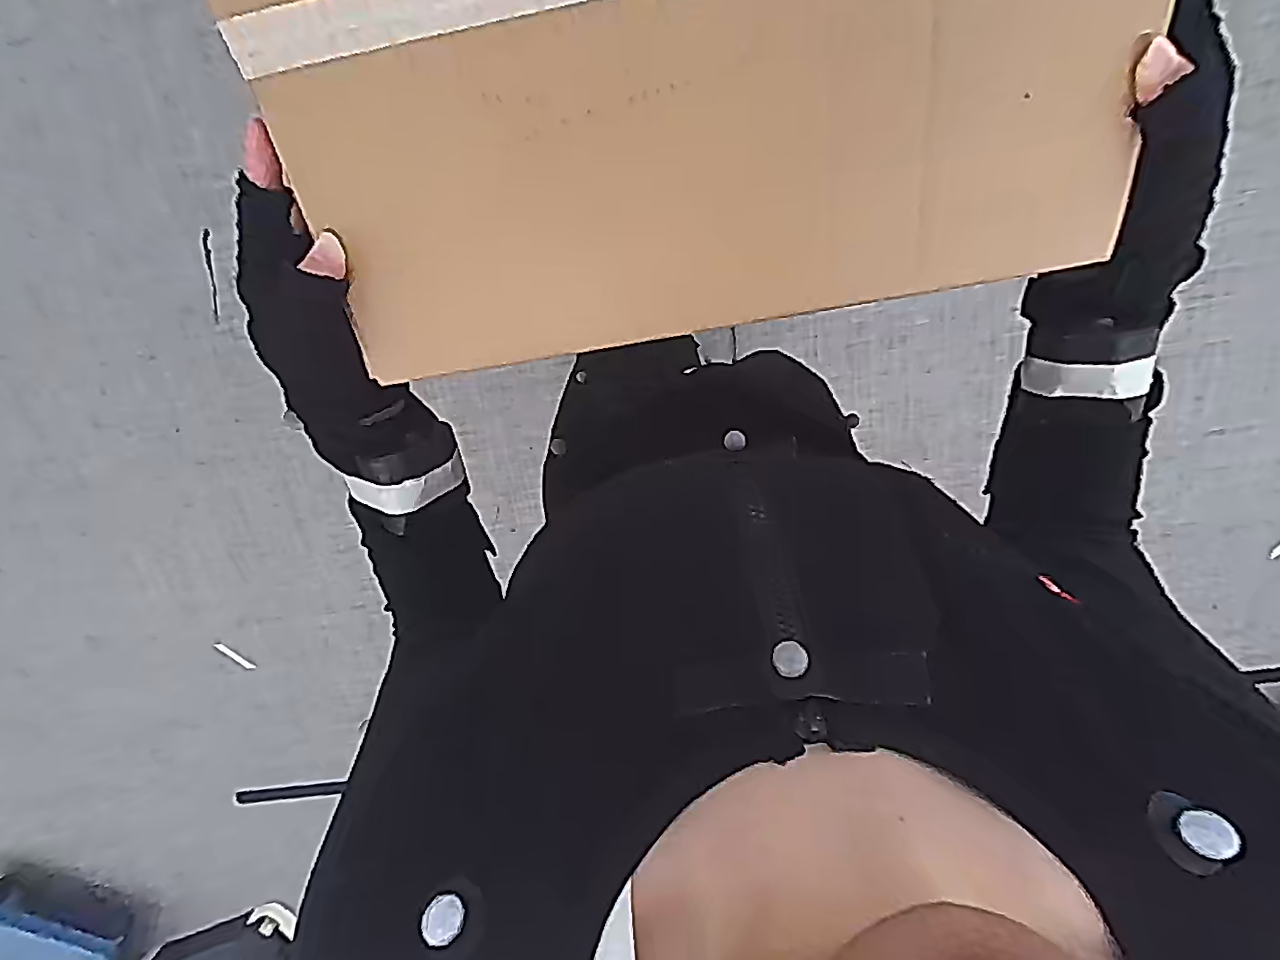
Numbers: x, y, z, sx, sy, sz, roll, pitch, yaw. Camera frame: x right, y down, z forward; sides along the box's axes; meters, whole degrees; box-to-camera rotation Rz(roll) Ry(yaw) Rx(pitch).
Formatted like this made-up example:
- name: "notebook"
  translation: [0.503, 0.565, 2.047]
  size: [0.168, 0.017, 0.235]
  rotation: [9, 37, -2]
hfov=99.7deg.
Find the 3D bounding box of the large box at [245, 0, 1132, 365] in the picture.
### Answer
- name: "large box"
  translation: [0.016, -0.301, 0.368]
  size: [0.408, 0.320, 0.320]
  rotation: [-9, 119, 4]
